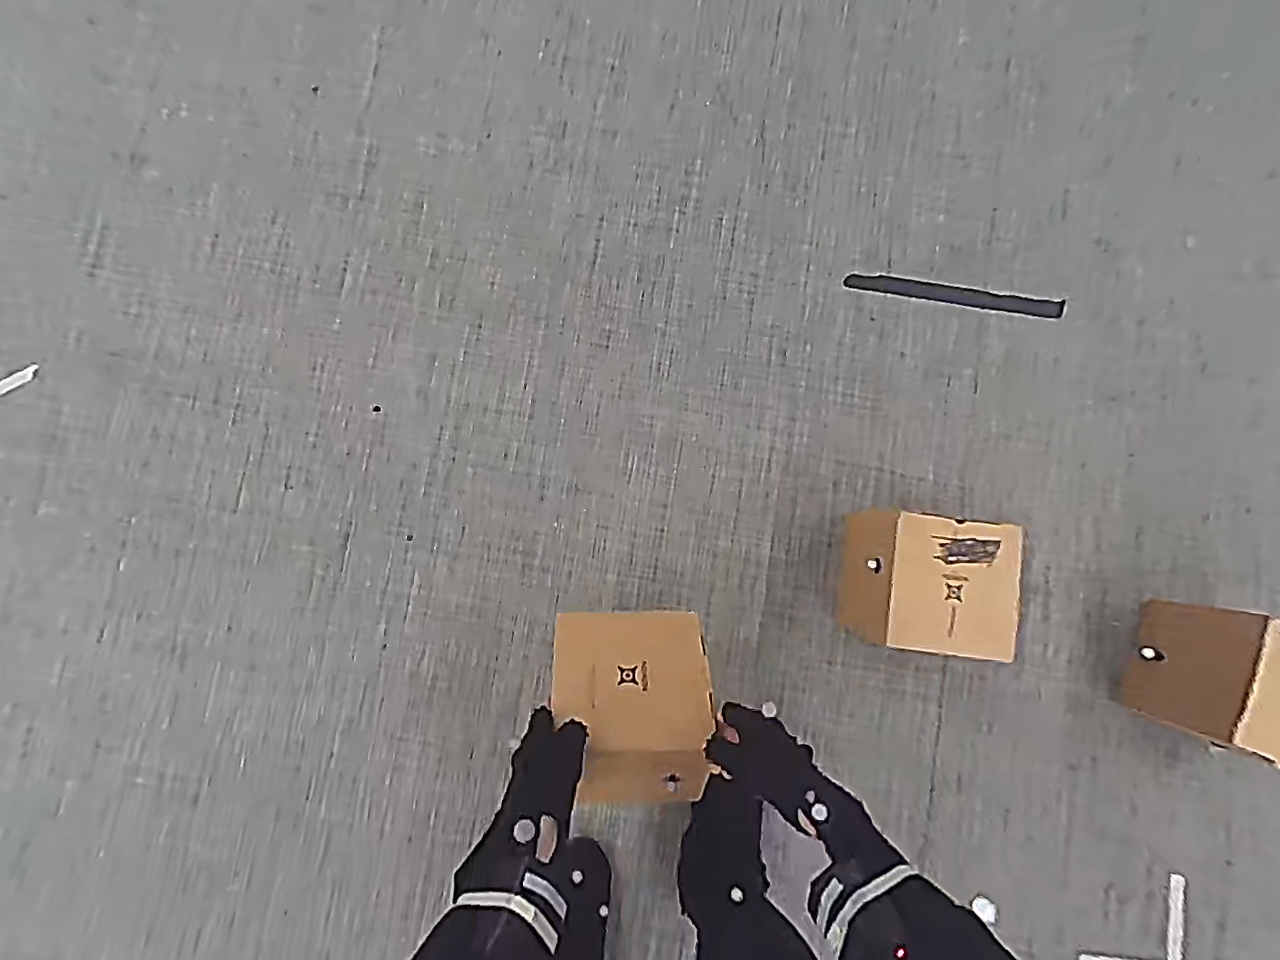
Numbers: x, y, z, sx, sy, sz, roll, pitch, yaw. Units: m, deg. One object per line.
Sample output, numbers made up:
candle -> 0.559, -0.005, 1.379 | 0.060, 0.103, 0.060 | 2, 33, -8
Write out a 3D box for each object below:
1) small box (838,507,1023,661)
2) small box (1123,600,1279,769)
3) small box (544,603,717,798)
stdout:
small box -> 0.394, 0.137, 0.759 | 0.168, 0.176, 0.179 | 8, 85, 0
small box -> 0.839, 0.287, 0.755 | 0.168, 0.176, 0.179 | 24, 85, 1
small box -> -0.015, 0.266, 0.652 | 0.179, 0.176, 0.168 | -1, 44, -3
